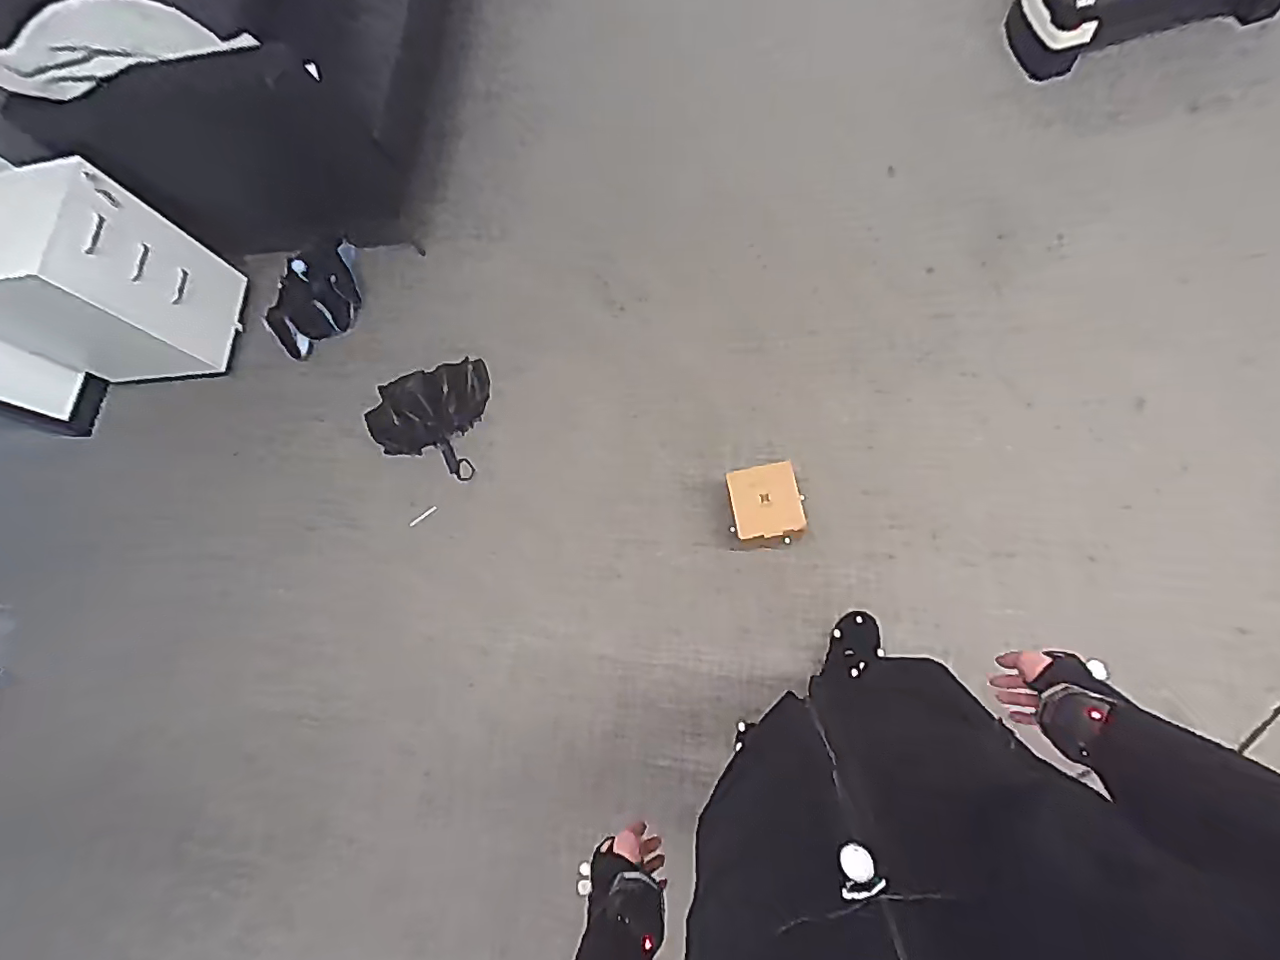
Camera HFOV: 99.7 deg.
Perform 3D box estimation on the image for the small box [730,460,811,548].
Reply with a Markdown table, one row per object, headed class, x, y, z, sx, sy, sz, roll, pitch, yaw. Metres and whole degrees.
| class | x | y | z | sx | sy | sz | roll | pitch | yaw |
| --- | --- | --- | --- | --- | --- | --- | --- | --- | --- |
| small box | 0.333 | 0.071 | 1.393 | 0.168 | 0.176 | 0.179 | -13 | 70 | 8 |
